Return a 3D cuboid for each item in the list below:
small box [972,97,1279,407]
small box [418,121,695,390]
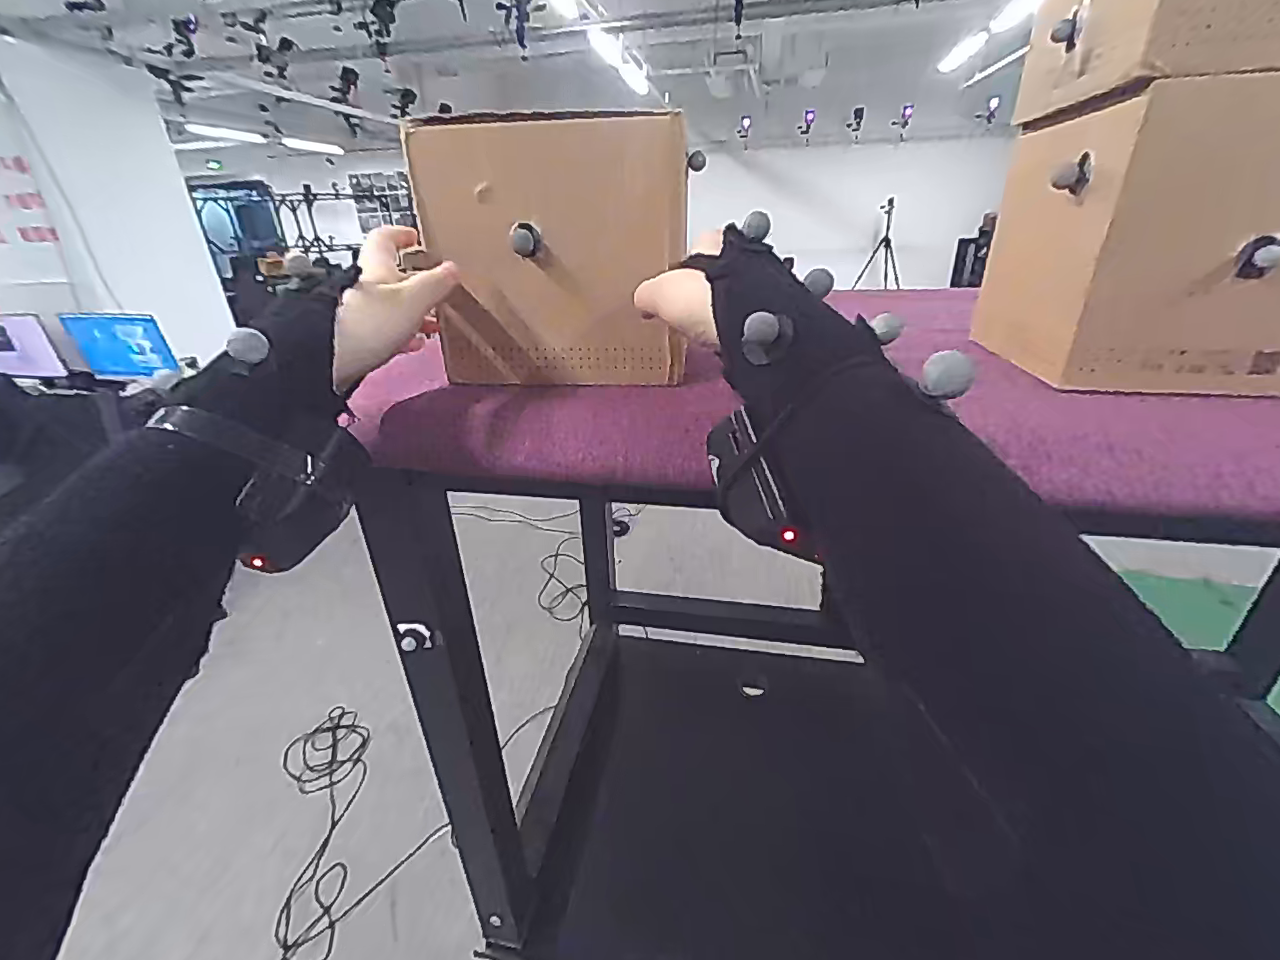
[{"bbox_3d":[0.367,-0.156,0.382,0.168,0.176,0.179,5,26,11],"label":"small box"},{"bbox_3d":[-0.045,-0.175,0.438,0.179,0.176,0.168,1,27,6],"label":"small box"}]
